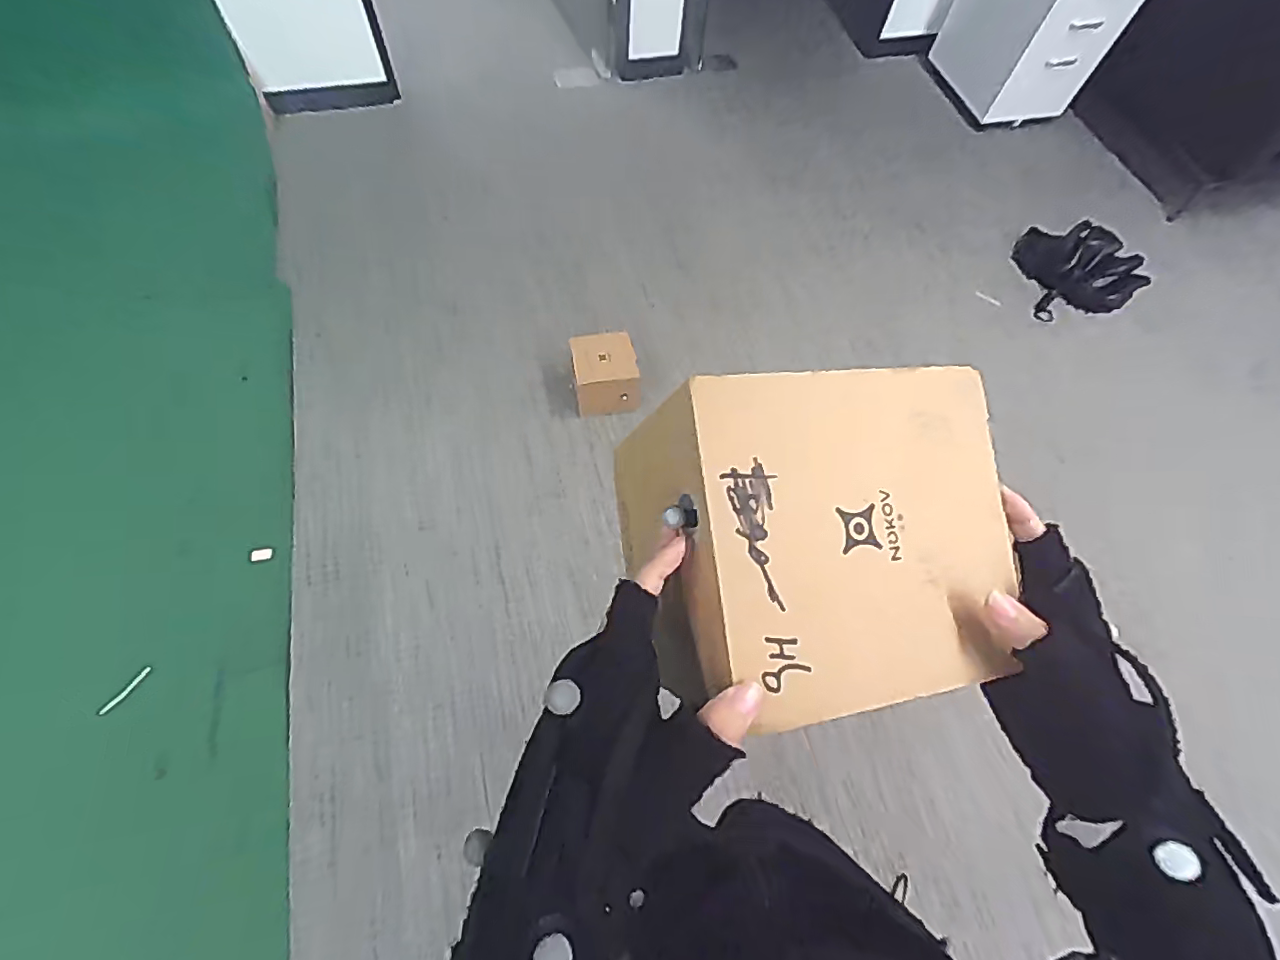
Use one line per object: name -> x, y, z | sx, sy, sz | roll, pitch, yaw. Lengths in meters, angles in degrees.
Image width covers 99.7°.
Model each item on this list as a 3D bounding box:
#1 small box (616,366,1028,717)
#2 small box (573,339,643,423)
small box -> 0.094, 0.034, 0.351 | 0.179, 0.176, 0.168 | -4, 80, -17
small box -> -0.094, -0.284, 1.571 | 0.179, 0.176, 0.168 | -10, 64, -7
